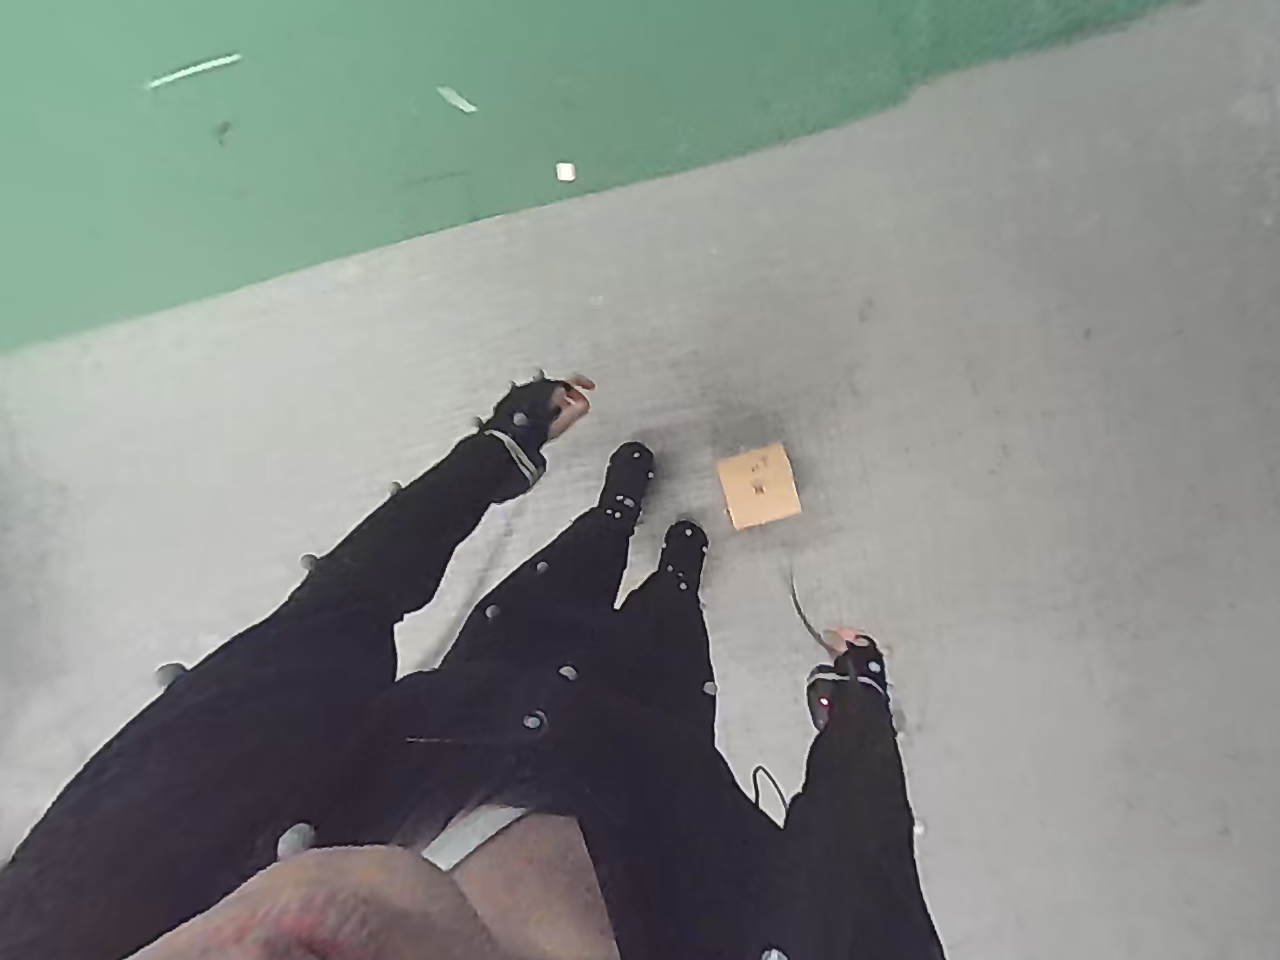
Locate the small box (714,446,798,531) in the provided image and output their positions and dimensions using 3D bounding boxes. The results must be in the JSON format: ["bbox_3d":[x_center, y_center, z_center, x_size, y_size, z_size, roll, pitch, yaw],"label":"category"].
[{"bbox_3d":[0.288,0.018,1.369,0.168,0.176,0.179,-15,90,6],"label":"small box"}]
